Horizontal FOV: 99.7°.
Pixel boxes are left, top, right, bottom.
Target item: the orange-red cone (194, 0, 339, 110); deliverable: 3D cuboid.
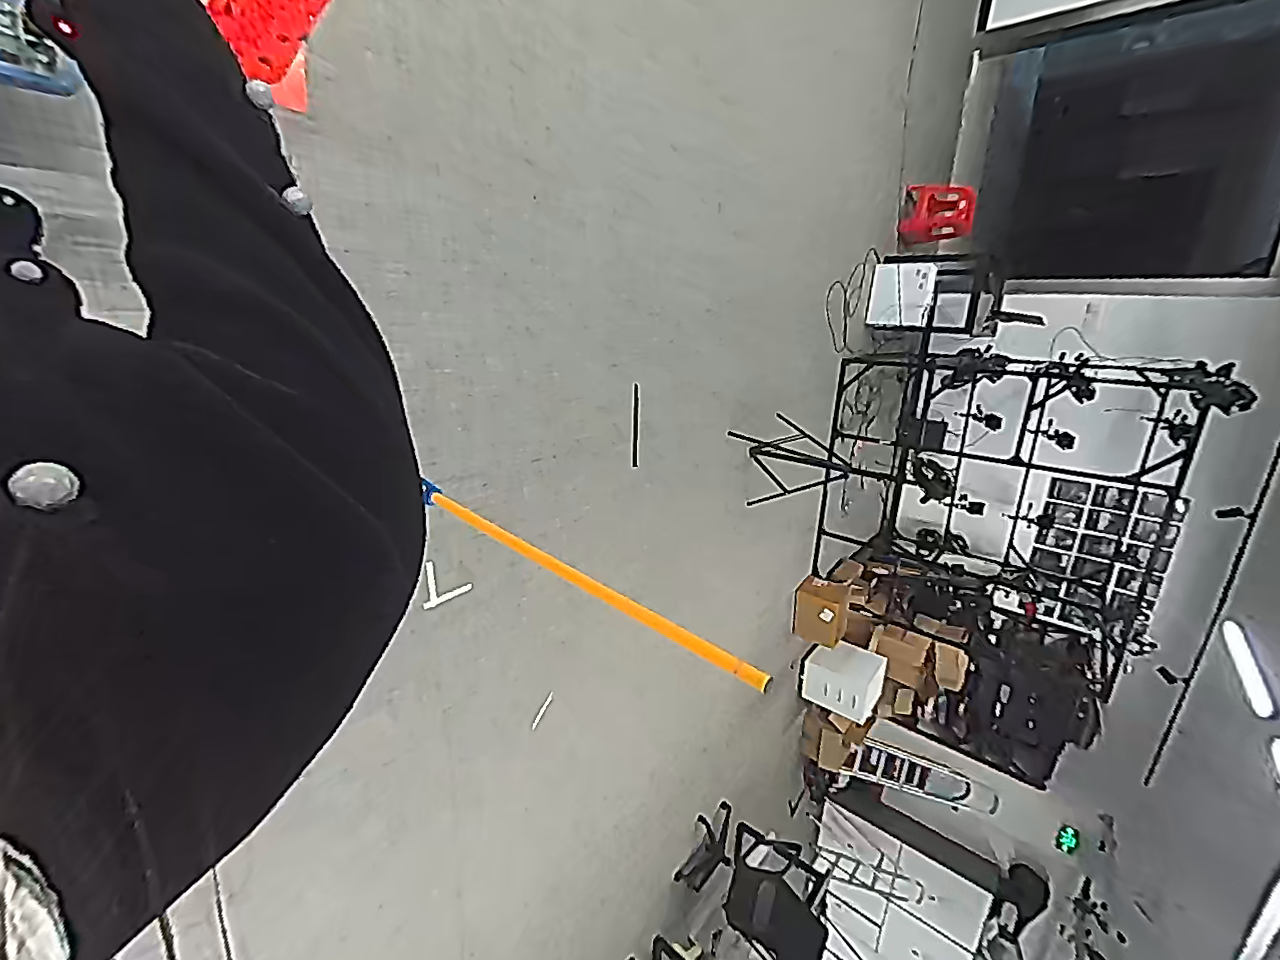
[{"bbox_3d":[-0.642,-0.850,0.989,0.199,0.360,0.198,-9,110,-52],"label":"orange-red cone"}]
